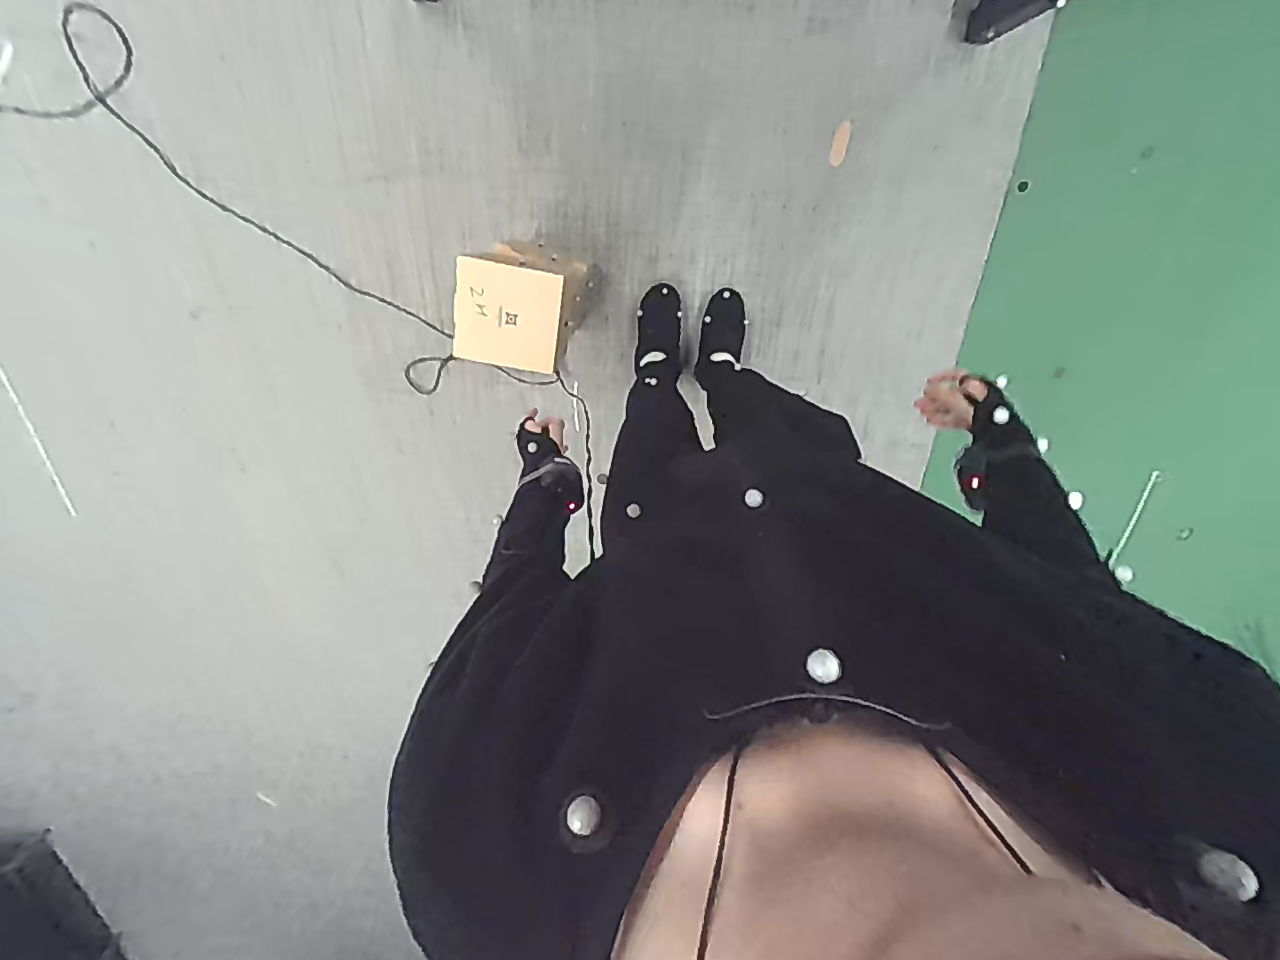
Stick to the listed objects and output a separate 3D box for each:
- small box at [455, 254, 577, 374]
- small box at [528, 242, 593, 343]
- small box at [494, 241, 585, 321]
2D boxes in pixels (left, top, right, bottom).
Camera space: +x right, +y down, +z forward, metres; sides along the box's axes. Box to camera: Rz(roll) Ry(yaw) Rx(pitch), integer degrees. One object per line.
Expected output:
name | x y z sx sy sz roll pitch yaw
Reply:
small box | -0.214 -0.302 0.966 0.179 0.176 0.168 10 114 -3
small box | -0.211 -0.443 1.261 0.168 0.176 0.179 17 115 -6
small box | -0.221 -0.373 1.115 0.168 0.176 0.179 22 113 -8
